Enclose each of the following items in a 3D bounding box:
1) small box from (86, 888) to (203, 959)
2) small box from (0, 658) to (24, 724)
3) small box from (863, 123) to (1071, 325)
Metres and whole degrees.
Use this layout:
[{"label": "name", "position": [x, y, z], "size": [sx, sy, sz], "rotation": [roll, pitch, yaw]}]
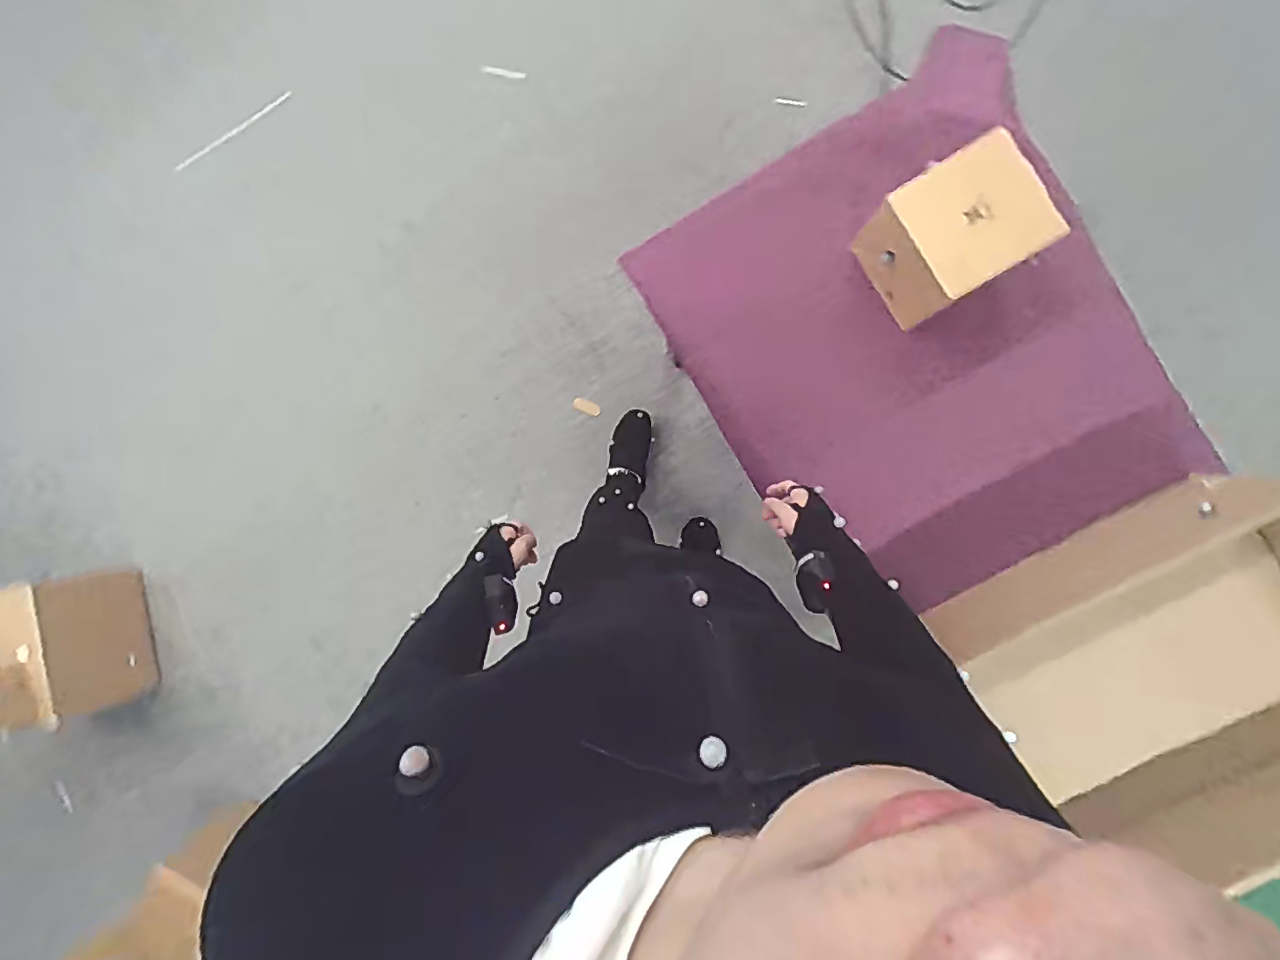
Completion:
[{"label": "small box", "position": [-1.266, 1.182, 1.355], "size": [0.179, 0.176, 0.168], "rotation": [28, 92, 4]}, {"label": "small box", "position": [-1.765, 0.580, 1.395], "size": [0.179, 0.176, 0.168], "rotation": [-18, 88, 3]}, {"label": "small box", "position": [0.451, -0.354, 0.787], "size": [0.179, 0.176, 0.168], "rotation": [-30, 88, 4]}]
